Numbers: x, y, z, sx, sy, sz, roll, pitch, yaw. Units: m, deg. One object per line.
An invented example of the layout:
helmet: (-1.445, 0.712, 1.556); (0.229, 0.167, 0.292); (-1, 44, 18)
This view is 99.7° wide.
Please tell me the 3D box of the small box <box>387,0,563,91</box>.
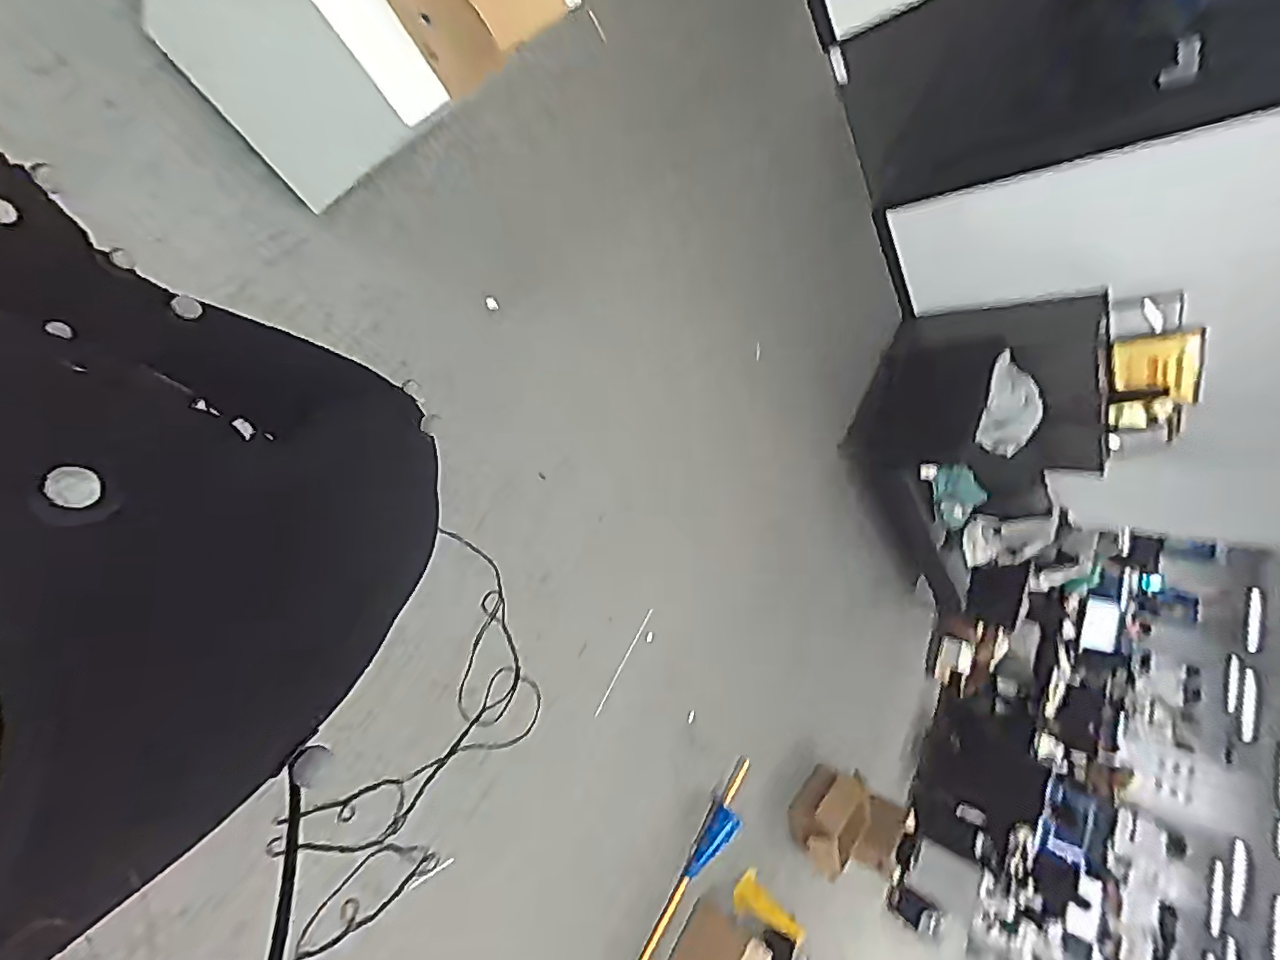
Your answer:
small box: (-0.261, -0.757, 0.842); (0.179, 0.176, 0.168); (-55, 128, -24)
